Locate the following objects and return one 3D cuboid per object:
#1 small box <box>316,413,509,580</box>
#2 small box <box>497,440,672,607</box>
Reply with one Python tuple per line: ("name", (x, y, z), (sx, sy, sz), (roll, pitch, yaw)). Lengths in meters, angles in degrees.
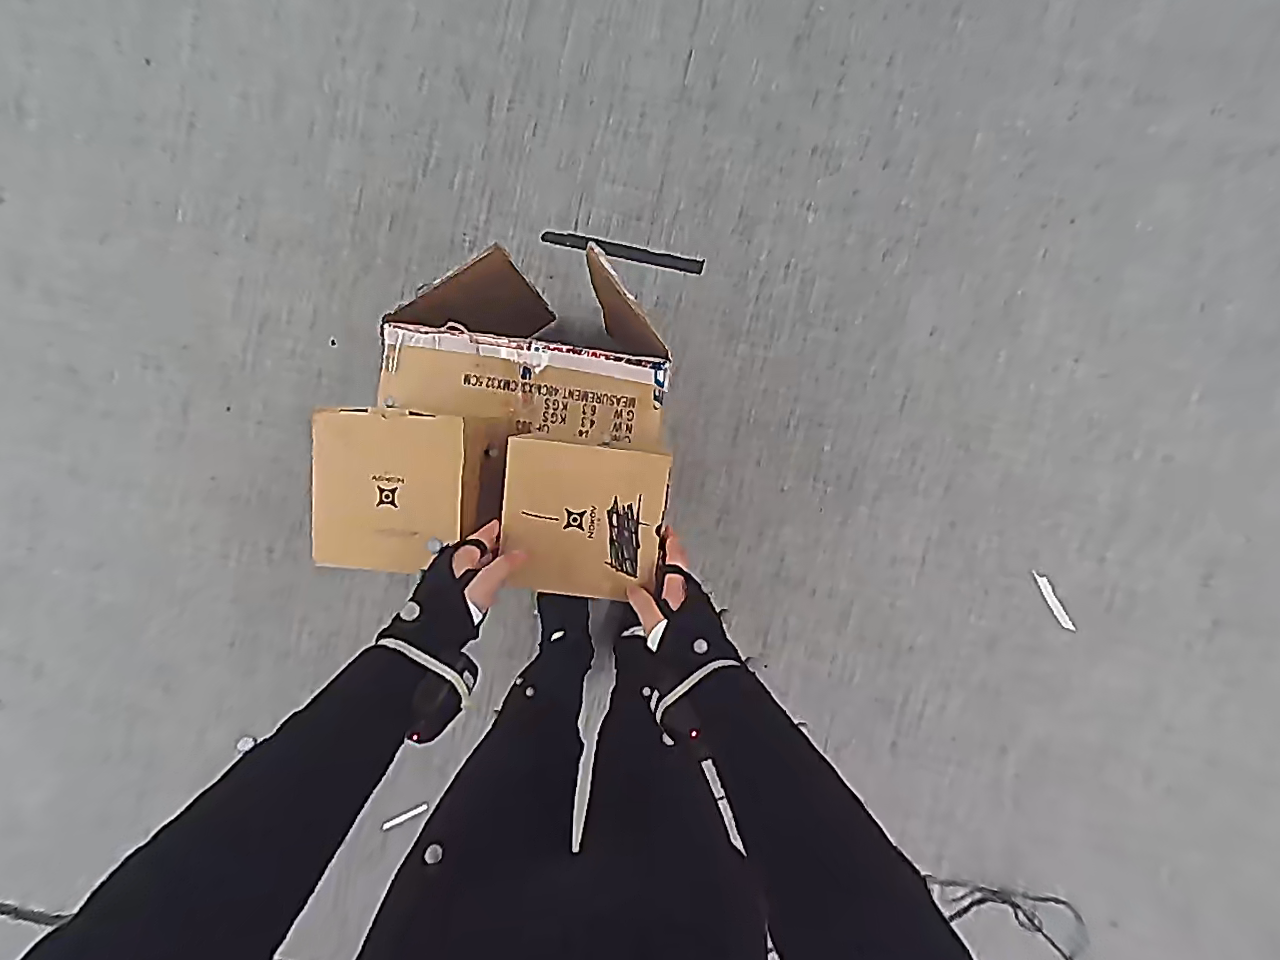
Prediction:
("small box", (-0.265, 0.010, 0.663), (0.168, 0.176, 0.179), (3, 97, 2))
("small box", (-0.061, 0.042, 0.663), (0.179, 0.176, 0.168), (7, 95, -1))
